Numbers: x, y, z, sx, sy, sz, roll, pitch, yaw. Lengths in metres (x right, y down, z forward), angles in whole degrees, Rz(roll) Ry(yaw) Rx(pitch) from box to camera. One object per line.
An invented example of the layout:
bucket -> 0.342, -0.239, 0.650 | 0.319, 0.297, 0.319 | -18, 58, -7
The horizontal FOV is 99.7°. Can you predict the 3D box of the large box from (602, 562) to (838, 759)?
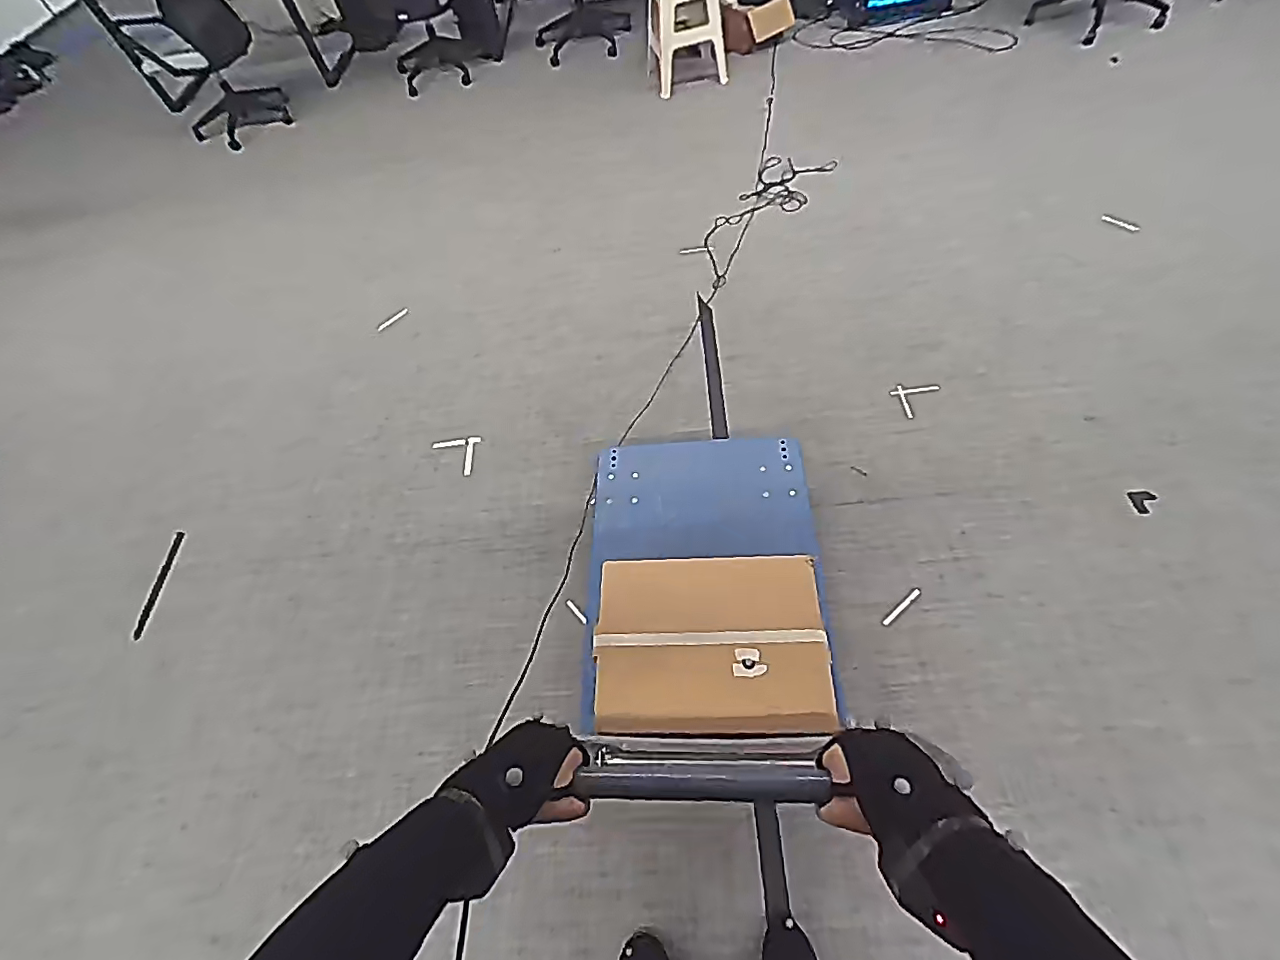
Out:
large box -> 0.143, 0.379, 1.105 | 0.408, 0.320, 0.320 | -3, 58, 5
